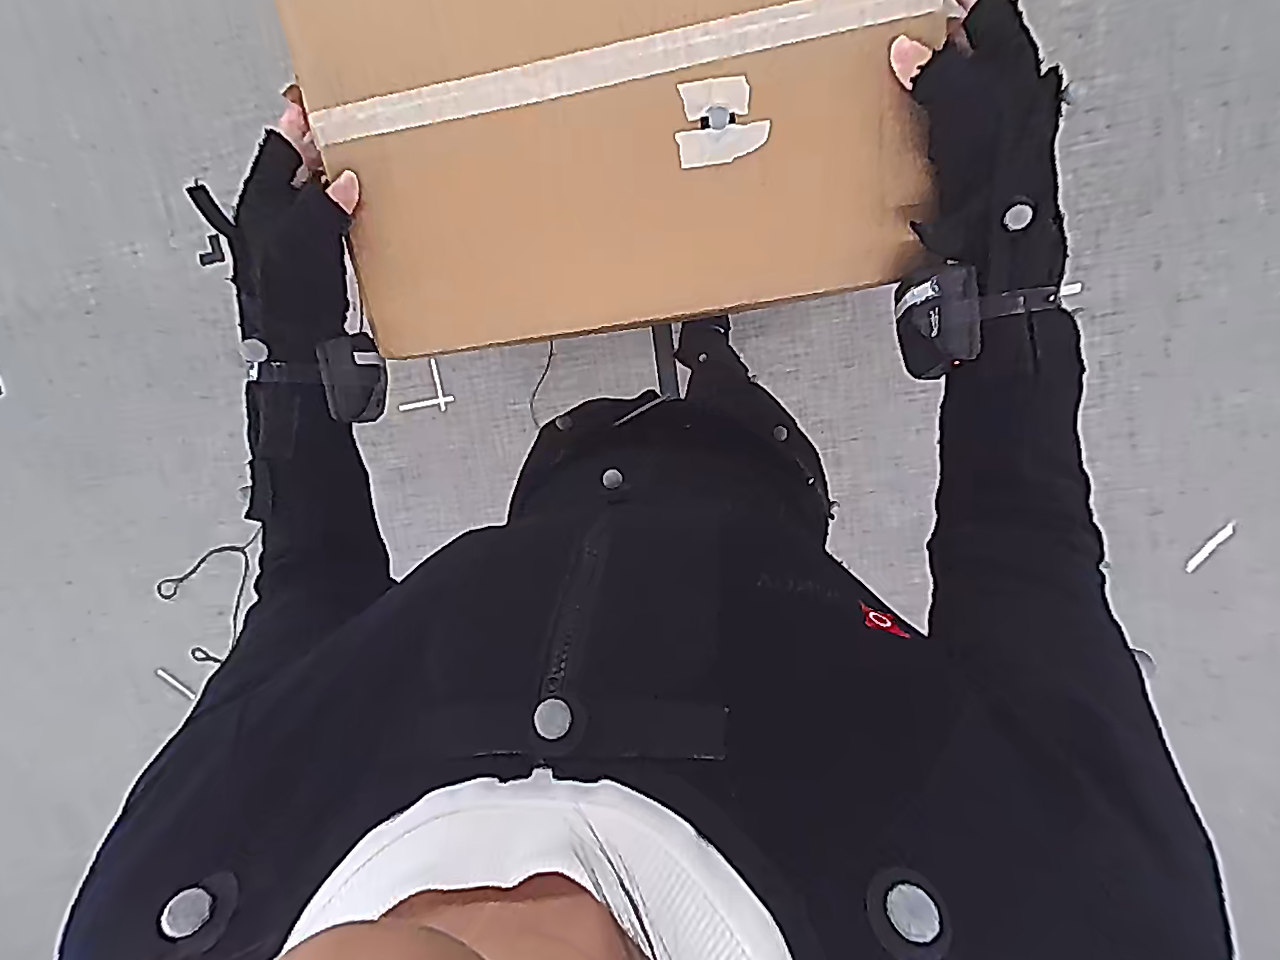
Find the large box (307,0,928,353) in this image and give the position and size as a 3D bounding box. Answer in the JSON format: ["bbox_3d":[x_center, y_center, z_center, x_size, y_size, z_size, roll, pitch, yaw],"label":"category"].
[{"bbox_3d":[-0.007,-0.310,0.505,0.408,0.320,0.320,-7,106,7],"label":"large box"}]
